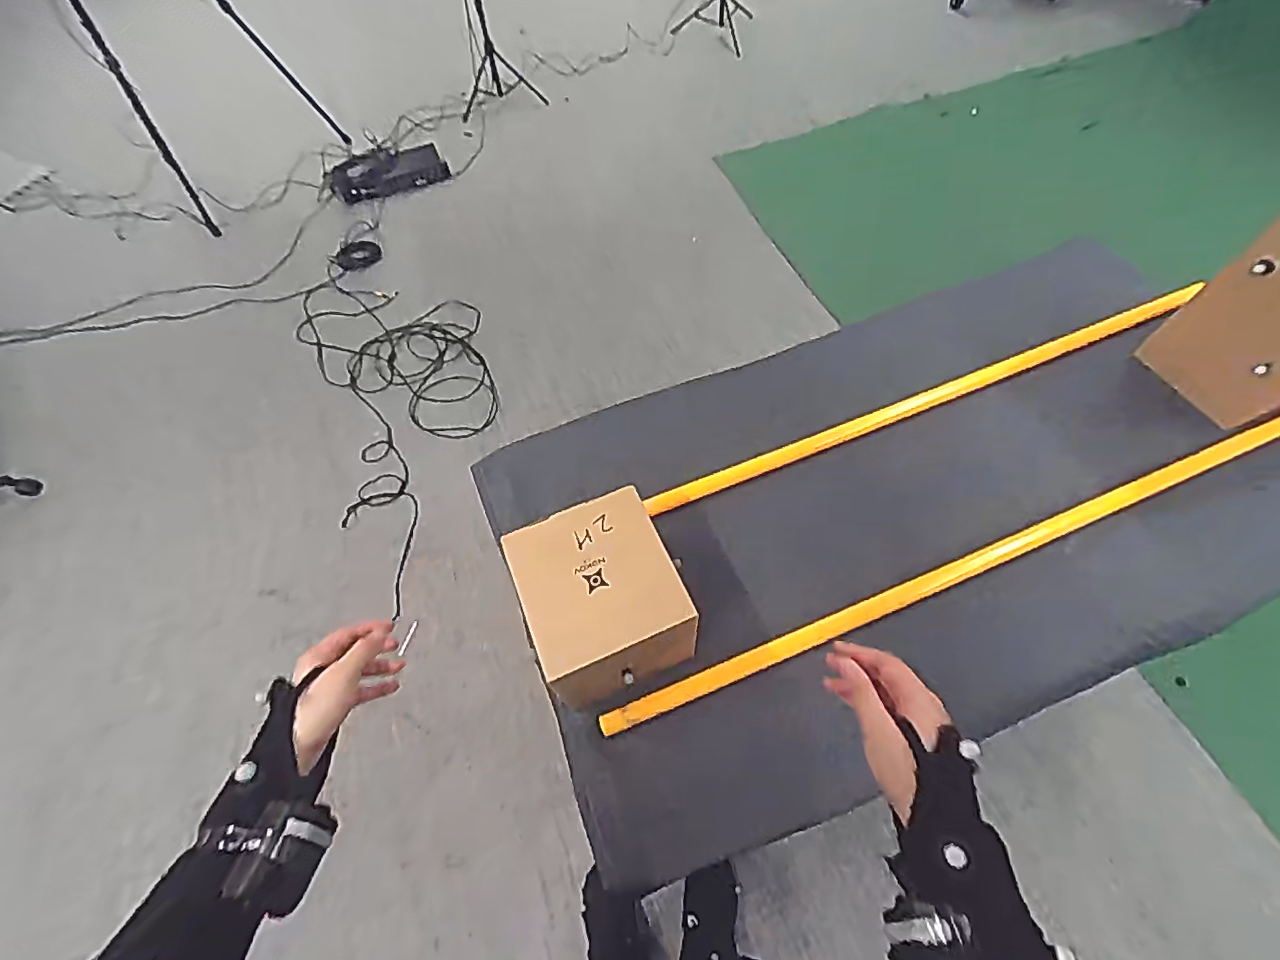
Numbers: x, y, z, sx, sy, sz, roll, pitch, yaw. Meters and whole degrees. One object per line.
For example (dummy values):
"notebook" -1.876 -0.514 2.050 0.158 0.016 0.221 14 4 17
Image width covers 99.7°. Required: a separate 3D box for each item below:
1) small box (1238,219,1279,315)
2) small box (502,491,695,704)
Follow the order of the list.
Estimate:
"small box" 0.906 -0.285 0.651 0.179 0.176 0.168 -17 61 -6
"small box" -0.044 0.149 0.645 0.168 0.176 0.179 -21 59 -10
